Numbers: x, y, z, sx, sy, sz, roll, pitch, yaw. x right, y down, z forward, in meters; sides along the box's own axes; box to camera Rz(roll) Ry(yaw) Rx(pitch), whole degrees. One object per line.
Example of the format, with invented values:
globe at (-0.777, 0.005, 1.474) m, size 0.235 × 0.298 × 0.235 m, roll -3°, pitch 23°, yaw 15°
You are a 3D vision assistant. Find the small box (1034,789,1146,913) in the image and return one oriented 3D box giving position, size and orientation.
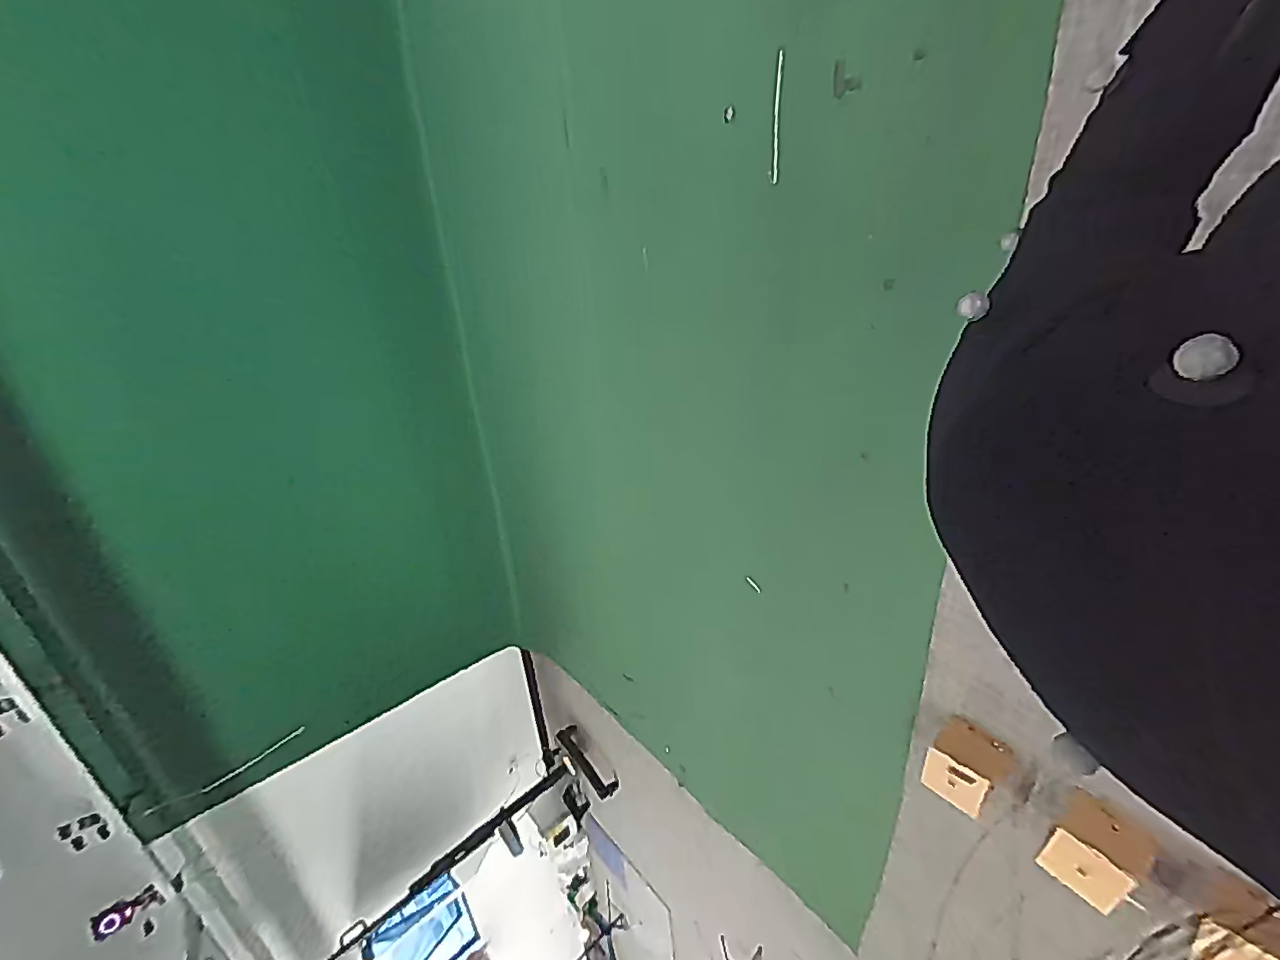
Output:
small box at (1.197, 0.979, 1.439) m, size 0.168 × 0.176 × 0.179 m, roll 30°, pitch 130°, yaw 41°

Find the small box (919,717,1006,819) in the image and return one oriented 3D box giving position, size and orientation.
small box at (0.988, 0.871, 1.654) m, size 0.168 × 0.176 × 0.179 m, roll 25°, pitch 128°, yaw 44°

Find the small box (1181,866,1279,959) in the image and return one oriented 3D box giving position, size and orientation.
small box at (1.383, 1.049, 1.234) m, size 0.168 × 0.176 × 0.179 m, roll 18°, pitch 121°, yaw 45°
